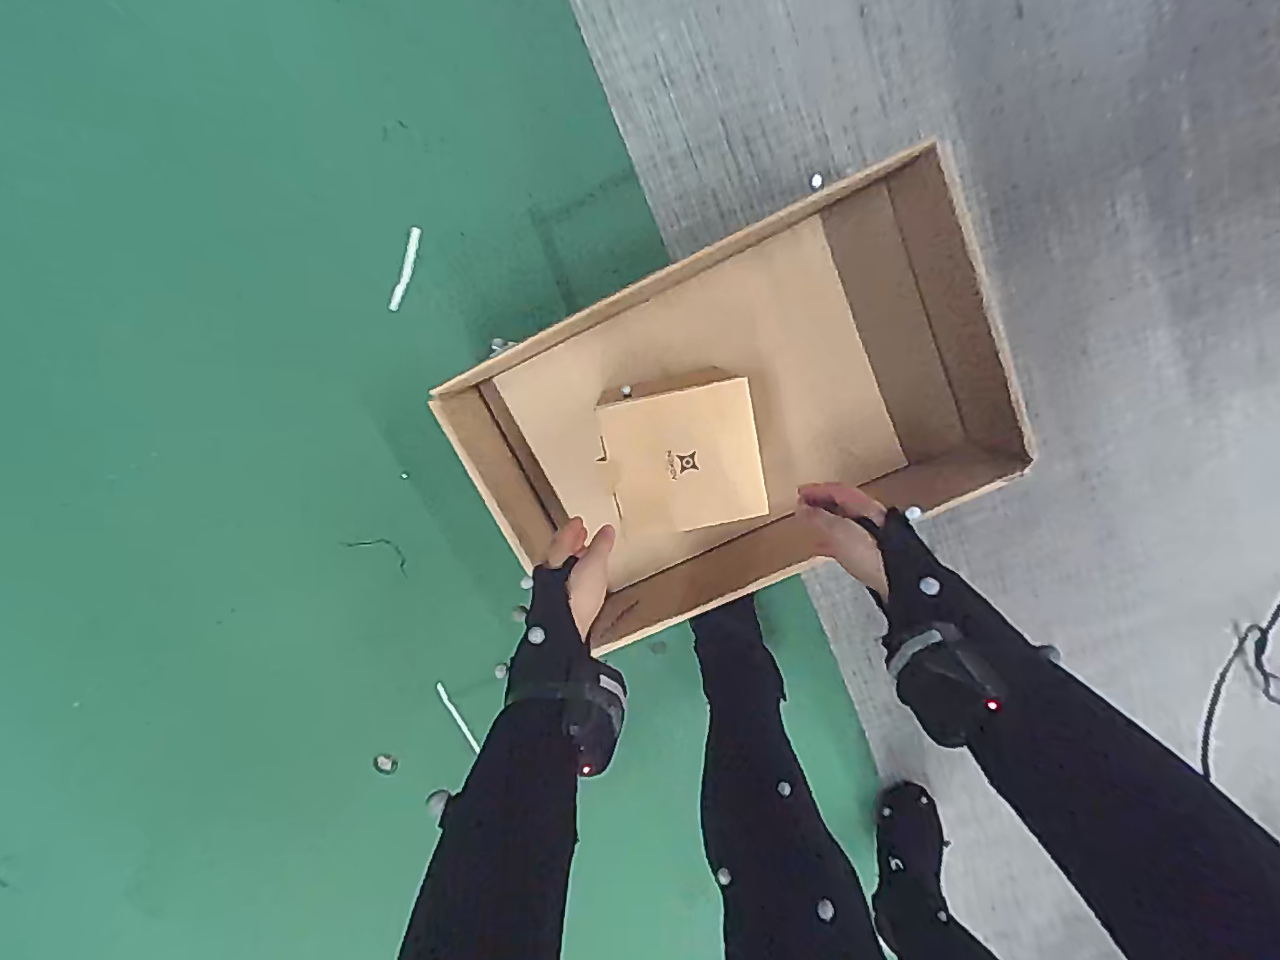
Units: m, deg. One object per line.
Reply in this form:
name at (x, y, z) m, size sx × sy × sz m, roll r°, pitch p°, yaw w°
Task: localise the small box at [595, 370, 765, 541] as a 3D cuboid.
small box at (0.047, -0.042, 0.701) m, size 0.179 × 0.176 × 0.168 m, roll -13°, pitch 105°, yaw 3°
